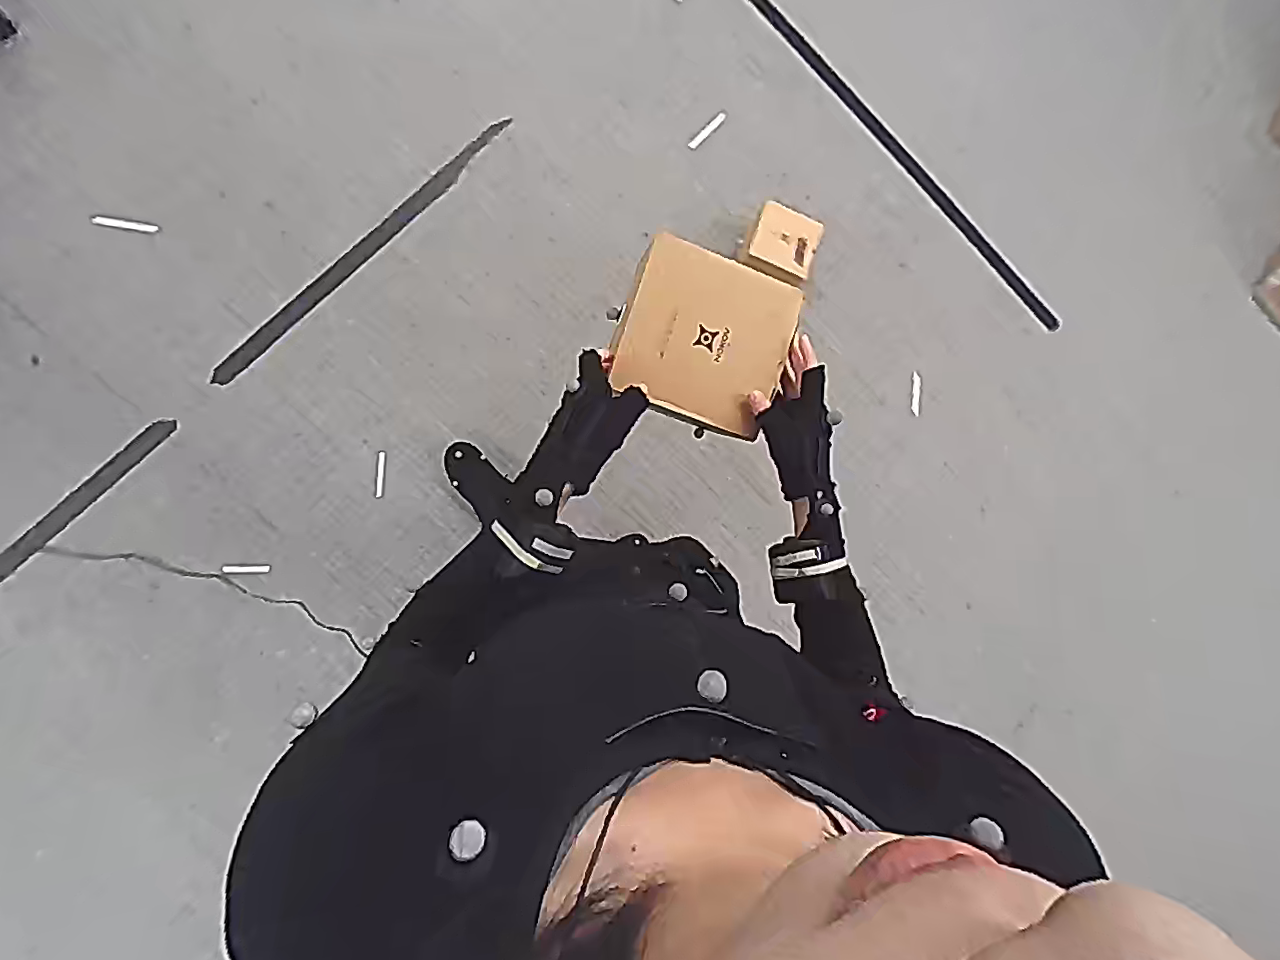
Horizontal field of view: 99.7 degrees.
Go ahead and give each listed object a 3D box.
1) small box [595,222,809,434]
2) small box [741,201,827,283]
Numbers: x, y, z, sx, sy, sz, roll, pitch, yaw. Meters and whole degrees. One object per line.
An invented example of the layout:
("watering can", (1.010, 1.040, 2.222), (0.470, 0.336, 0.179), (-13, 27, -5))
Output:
("small box", (0.057, -0.161, 0.623), (0.179, 0.176, 0.168), (17, 95, -10))
("small box", (0.390, -0.639, 1.527), (0.179, 0.176, 0.168), (21, 85, -7))
